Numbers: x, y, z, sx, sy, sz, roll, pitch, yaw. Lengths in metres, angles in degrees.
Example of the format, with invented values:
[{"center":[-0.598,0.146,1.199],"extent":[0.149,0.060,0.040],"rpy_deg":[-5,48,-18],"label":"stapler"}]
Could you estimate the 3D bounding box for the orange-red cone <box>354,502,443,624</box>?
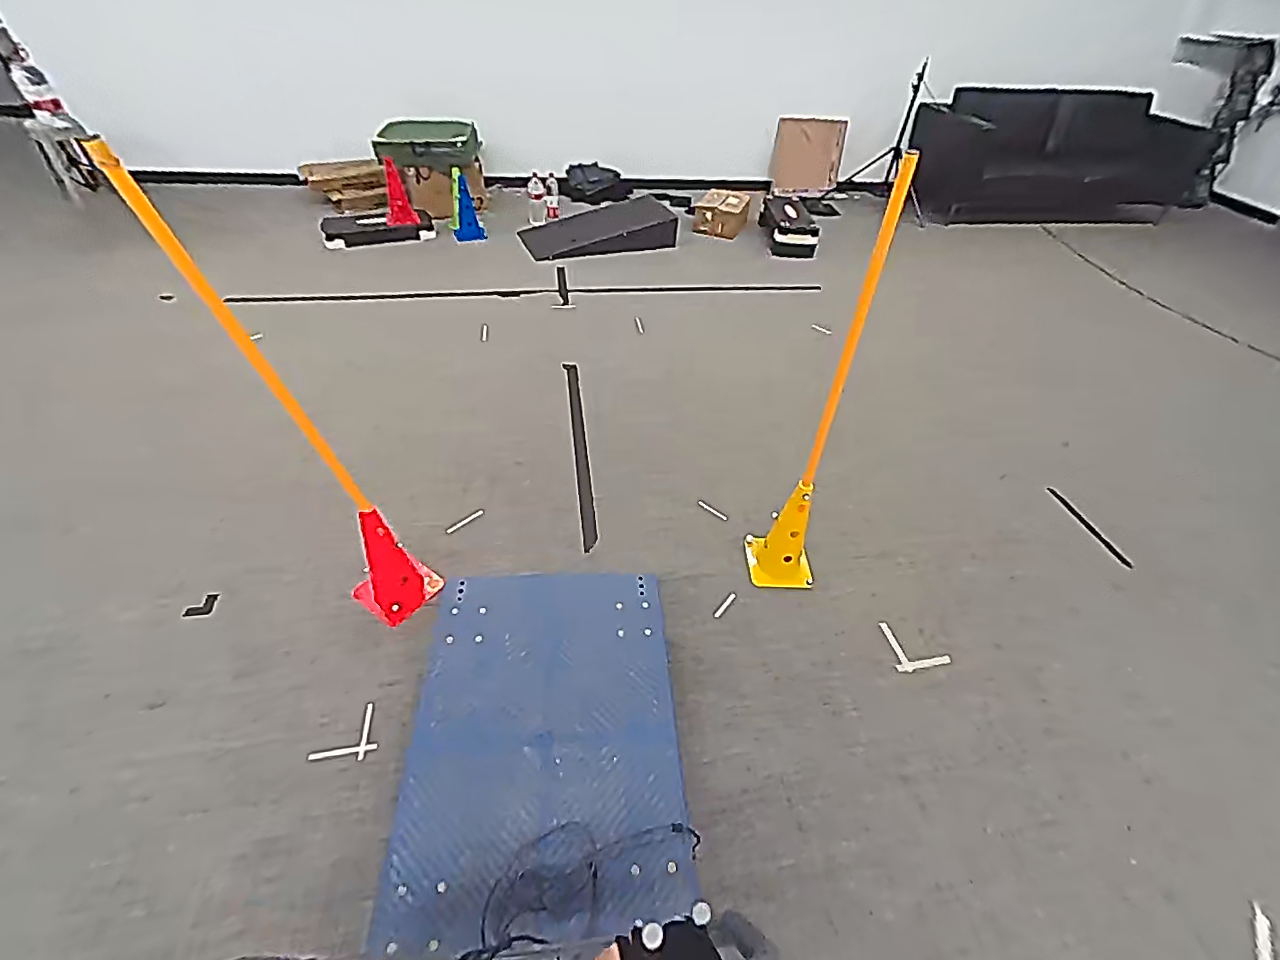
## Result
[{"center":[-0.705,0.196,1.499],"extent":[0.198,0.360,0.199],"rpy_deg":[29,47,22],"label":"orange-red cone"}]
